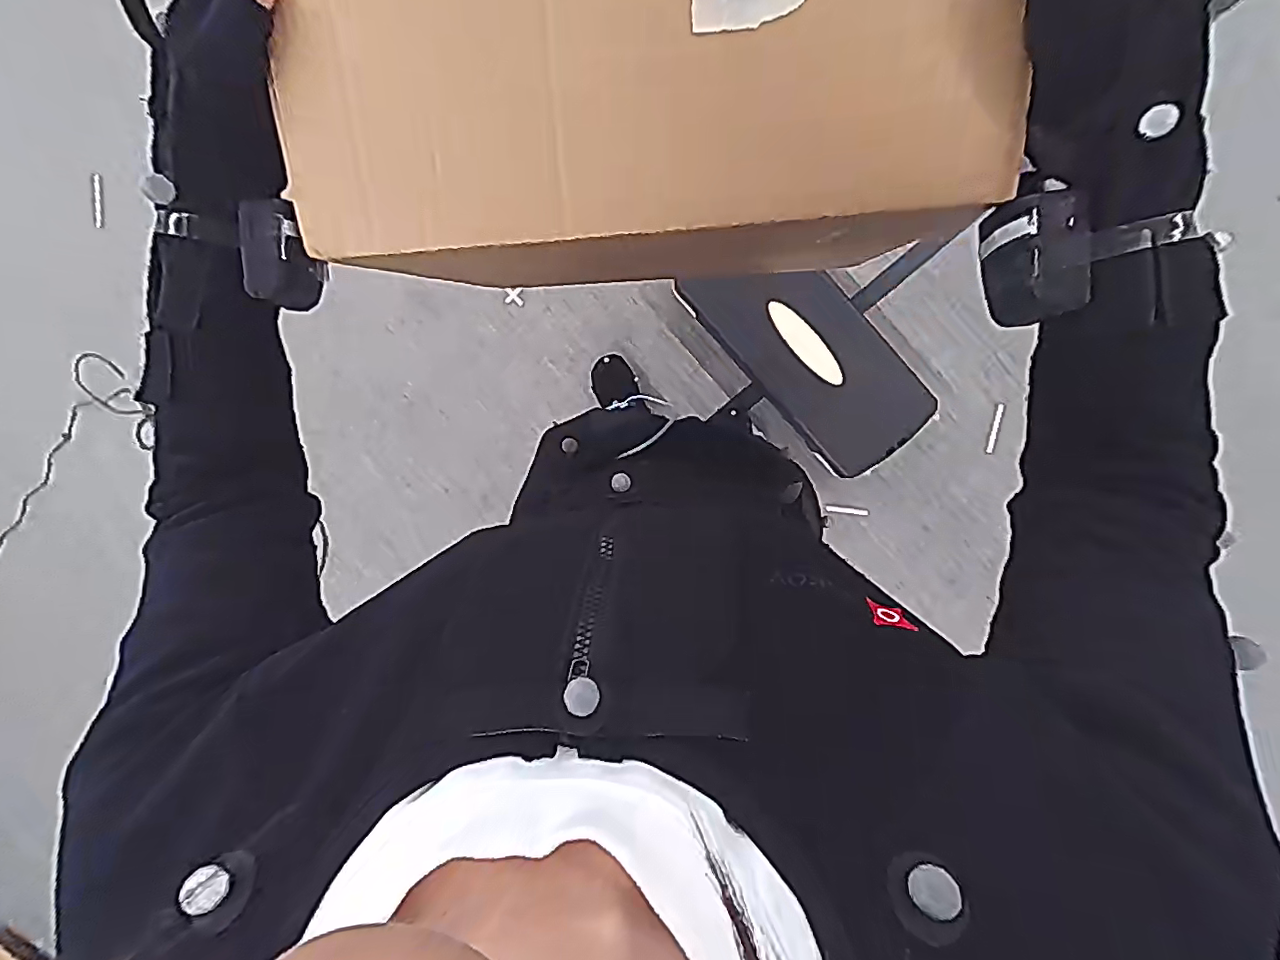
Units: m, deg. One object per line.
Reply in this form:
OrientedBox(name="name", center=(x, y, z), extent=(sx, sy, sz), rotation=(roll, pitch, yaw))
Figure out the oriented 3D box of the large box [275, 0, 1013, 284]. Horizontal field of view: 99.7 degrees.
OrientedBox(name="large box", center=(0.003, -0.343, 0.421), extent=(0.408, 0.320, 0.320), rotation=(-2, 107, 7))
